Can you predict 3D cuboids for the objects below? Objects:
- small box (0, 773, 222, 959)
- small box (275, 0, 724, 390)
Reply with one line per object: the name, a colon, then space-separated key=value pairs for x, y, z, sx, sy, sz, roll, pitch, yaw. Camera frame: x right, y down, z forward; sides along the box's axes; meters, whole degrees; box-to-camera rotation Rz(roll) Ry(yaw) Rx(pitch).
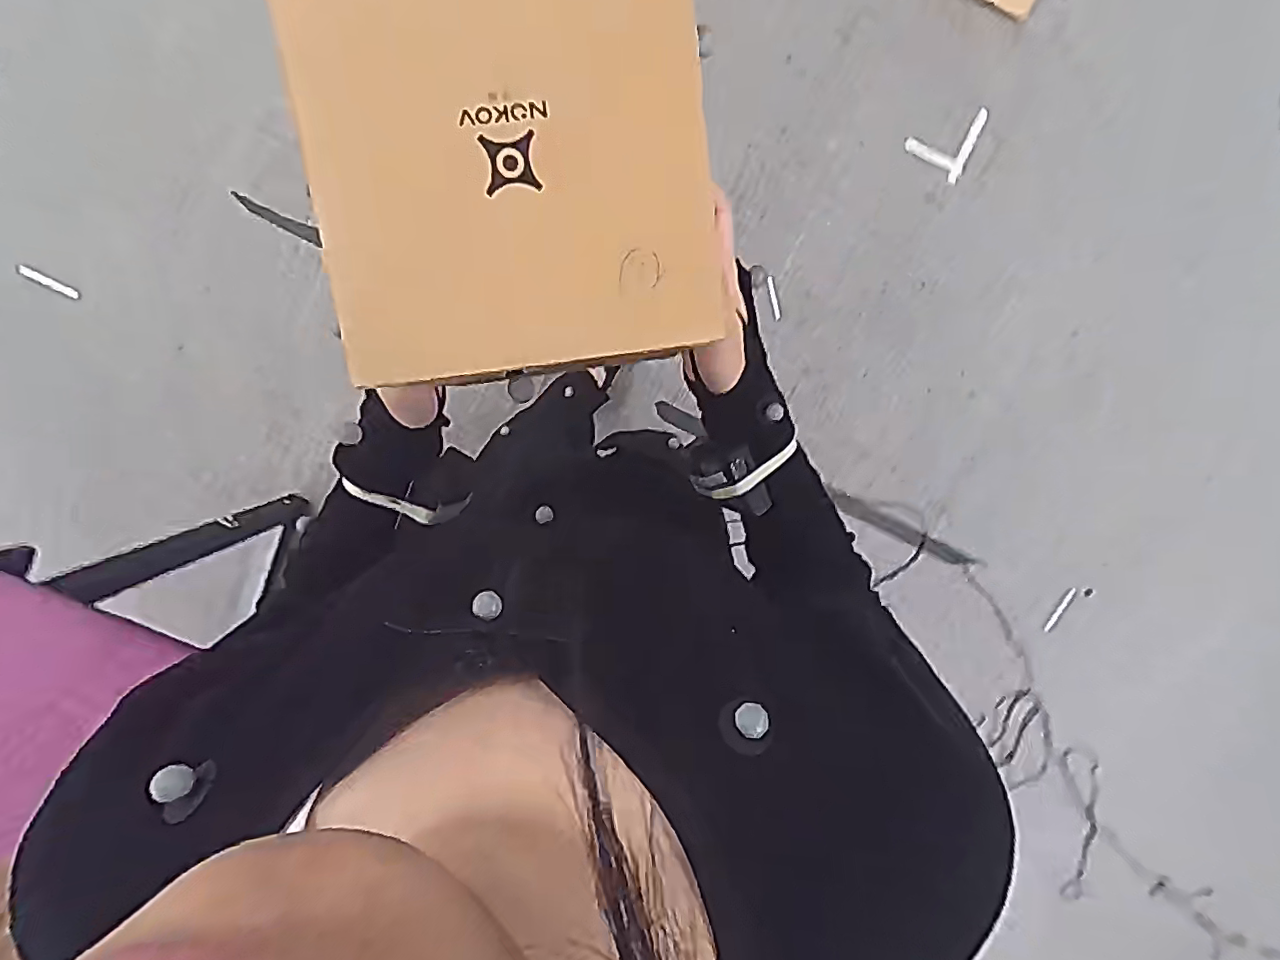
small box: x=-0.757 y=0.573 z=0.775 sx=0.168 sy=0.176 sz=0.179 roll=31 pitch=100 yaw=-6
small box: x=-0.055 y=-0.149 z=0.298 sx=0.168 sy=0.176 sz=0.179 roll=-7 pitch=101 yaw=-2
